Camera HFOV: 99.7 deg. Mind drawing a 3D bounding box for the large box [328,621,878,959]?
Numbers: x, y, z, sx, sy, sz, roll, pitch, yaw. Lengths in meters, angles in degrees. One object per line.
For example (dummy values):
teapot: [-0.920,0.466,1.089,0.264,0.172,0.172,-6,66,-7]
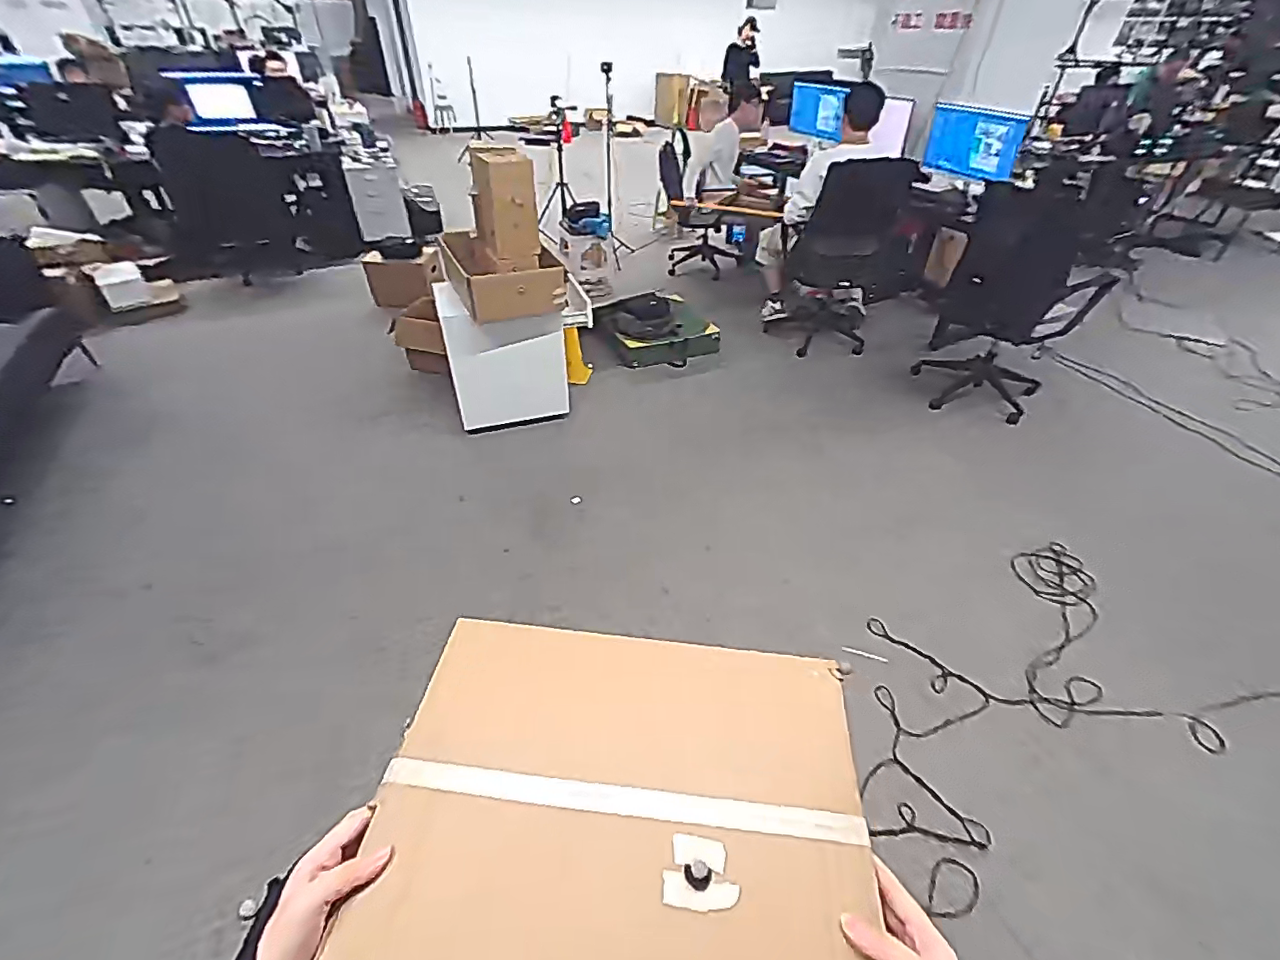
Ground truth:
large box: [-0.021,0.383,0.572,0.408,0.320,0.320,6,42,3]
